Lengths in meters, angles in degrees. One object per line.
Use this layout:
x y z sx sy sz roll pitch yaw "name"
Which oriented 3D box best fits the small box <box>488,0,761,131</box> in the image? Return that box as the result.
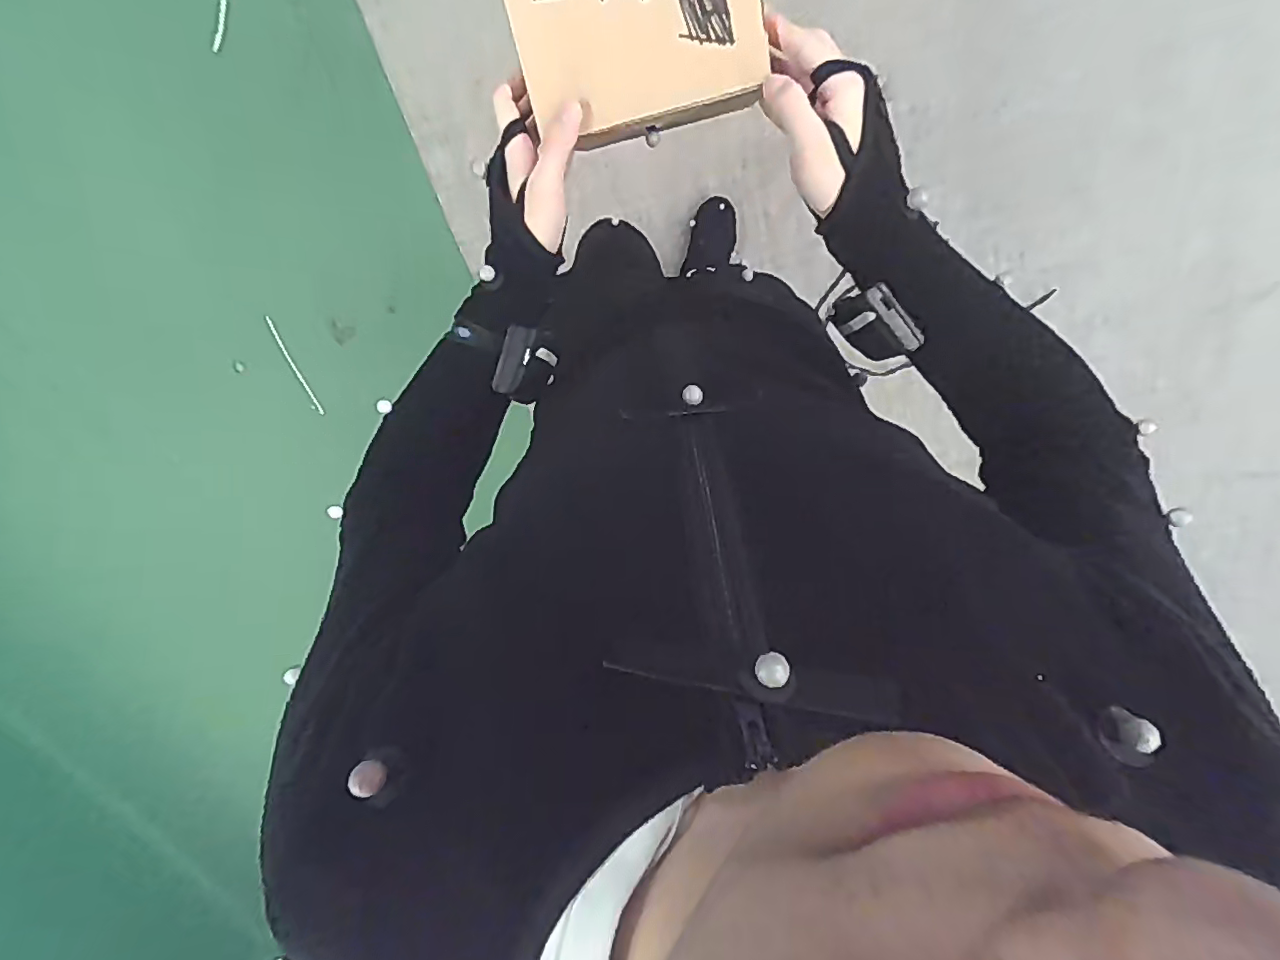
-0.009 -0.375 0.405 0.179 0.176 0.168 -6 120 11 "small box"
